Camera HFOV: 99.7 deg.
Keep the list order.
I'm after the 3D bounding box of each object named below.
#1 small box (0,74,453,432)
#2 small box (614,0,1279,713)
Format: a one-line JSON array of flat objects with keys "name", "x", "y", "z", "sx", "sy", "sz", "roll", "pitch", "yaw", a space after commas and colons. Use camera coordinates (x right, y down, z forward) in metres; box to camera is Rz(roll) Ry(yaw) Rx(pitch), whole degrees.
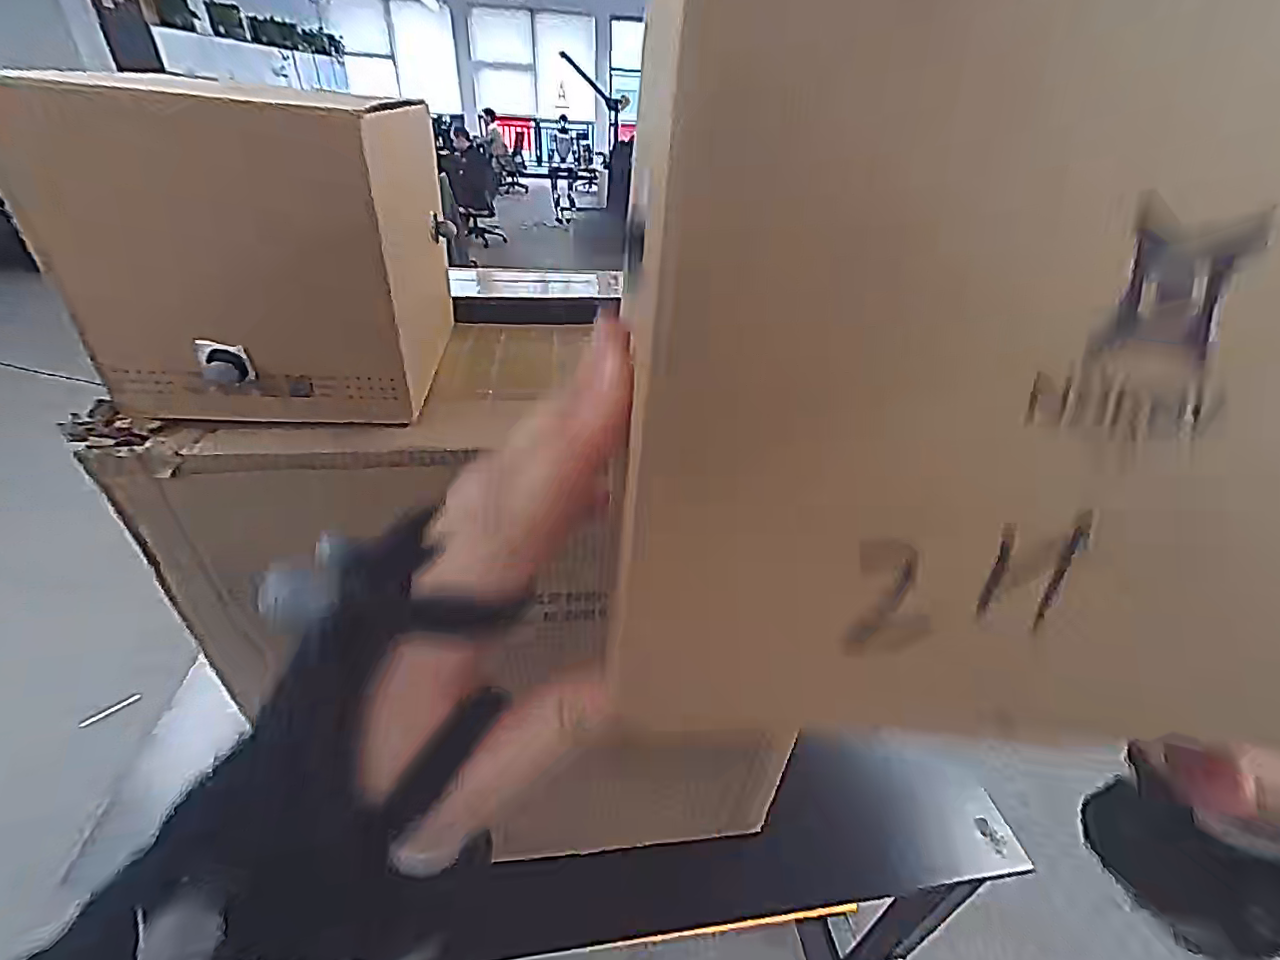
[{"name": "small box", "x": -0.223, "y": -0.146, "z": 0.350, "sx": 0.168, "sy": 0.176, "sz": 0.179, "roll": -1, "pitch": 37, "yaw": -9}, {"name": "small box", "x": 0.081, "y": -0.060, "z": 0.167, "sx": 0.168, "sy": 0.179, "sz": 0.176, "roll": 5, "pitch": 19, "yaw": -4}]
